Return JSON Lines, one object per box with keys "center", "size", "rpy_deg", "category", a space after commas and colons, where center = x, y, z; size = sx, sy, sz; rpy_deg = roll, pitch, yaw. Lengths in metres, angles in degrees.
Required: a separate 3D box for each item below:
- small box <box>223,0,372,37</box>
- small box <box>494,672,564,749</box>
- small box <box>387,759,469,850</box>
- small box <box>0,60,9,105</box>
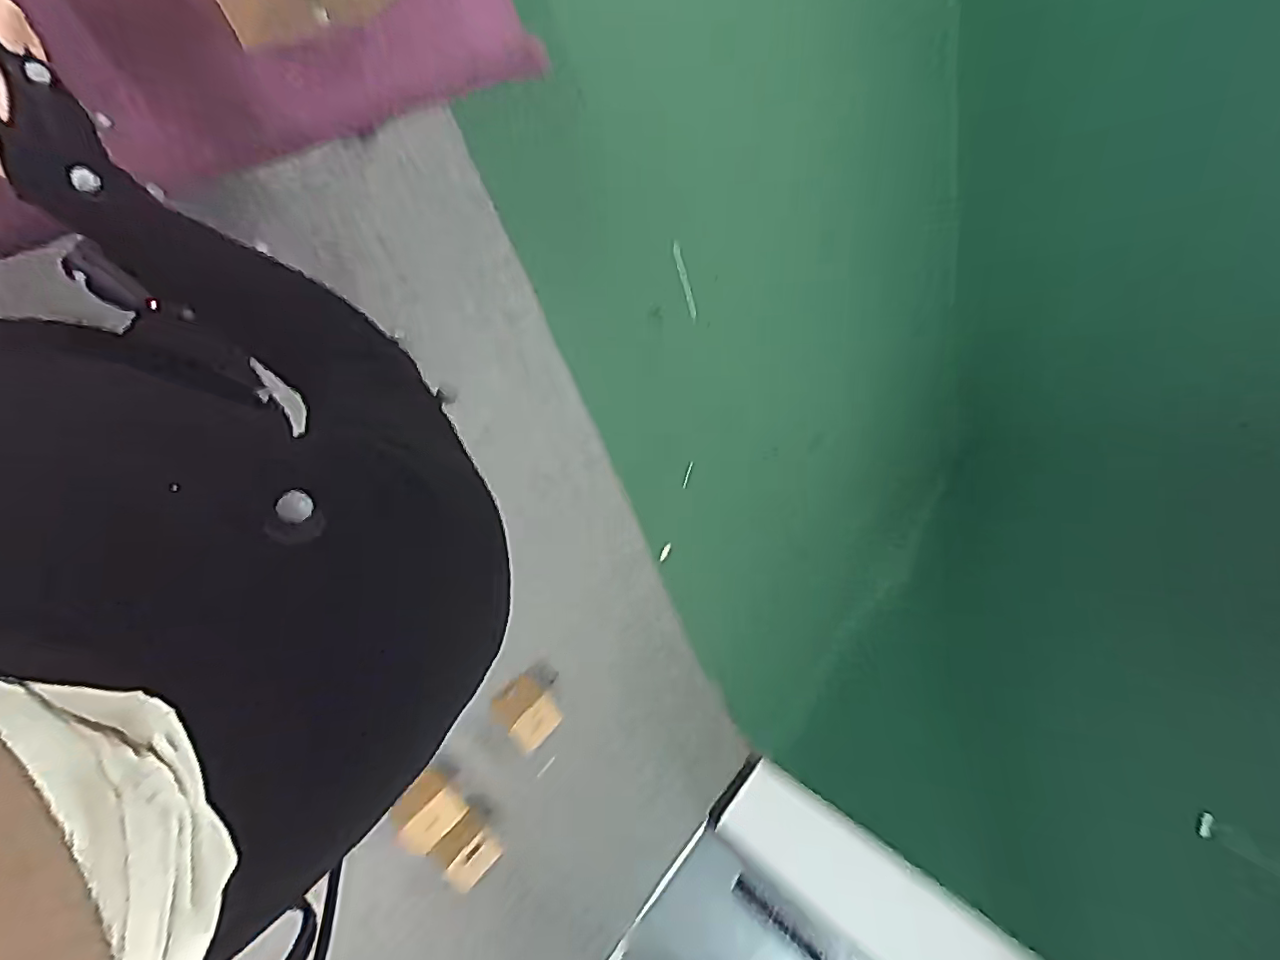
{"center": [-0.393, -0.621, 0.586], "size": [0.179, 0.176, 0.168], "rpy_deg": [-39, 126, -25], "category": "small box"}
{"center": [-0.421, 0.865, 2.046], "size": [0.168, 0.176, 0.179], "rpy_deg": [-39, 127, -26], "category": "small box"}
{"center": [-0.728, 1.104, 1.852], "size": [0.179, 0.176, 0.168], "rpy_deg": [-38, 126, -26], "category": "small box"}
{"center": [-0.597, -0.362, 0.362], "size": [0.179, 0.176, 0.168], "rpy_deg": [-28, 114, -29], "category": "small box"}
